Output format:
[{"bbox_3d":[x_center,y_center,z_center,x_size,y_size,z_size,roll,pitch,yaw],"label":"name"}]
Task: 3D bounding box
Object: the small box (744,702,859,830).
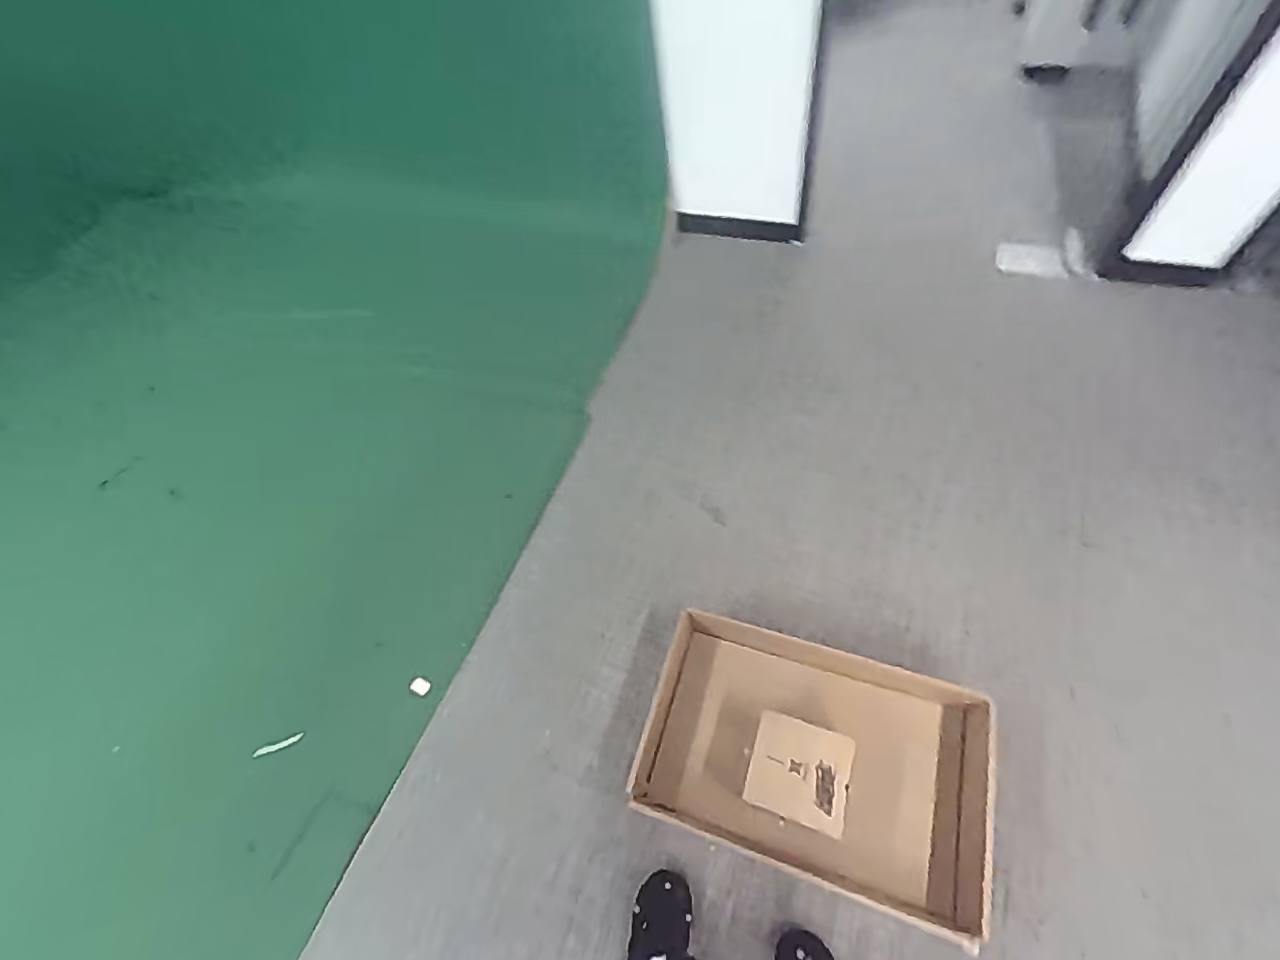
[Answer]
[{"bbox_3d":[0.312,0.558,1.060,0.179,0.176,0.168,13,63,20],"label":"small box"}]
